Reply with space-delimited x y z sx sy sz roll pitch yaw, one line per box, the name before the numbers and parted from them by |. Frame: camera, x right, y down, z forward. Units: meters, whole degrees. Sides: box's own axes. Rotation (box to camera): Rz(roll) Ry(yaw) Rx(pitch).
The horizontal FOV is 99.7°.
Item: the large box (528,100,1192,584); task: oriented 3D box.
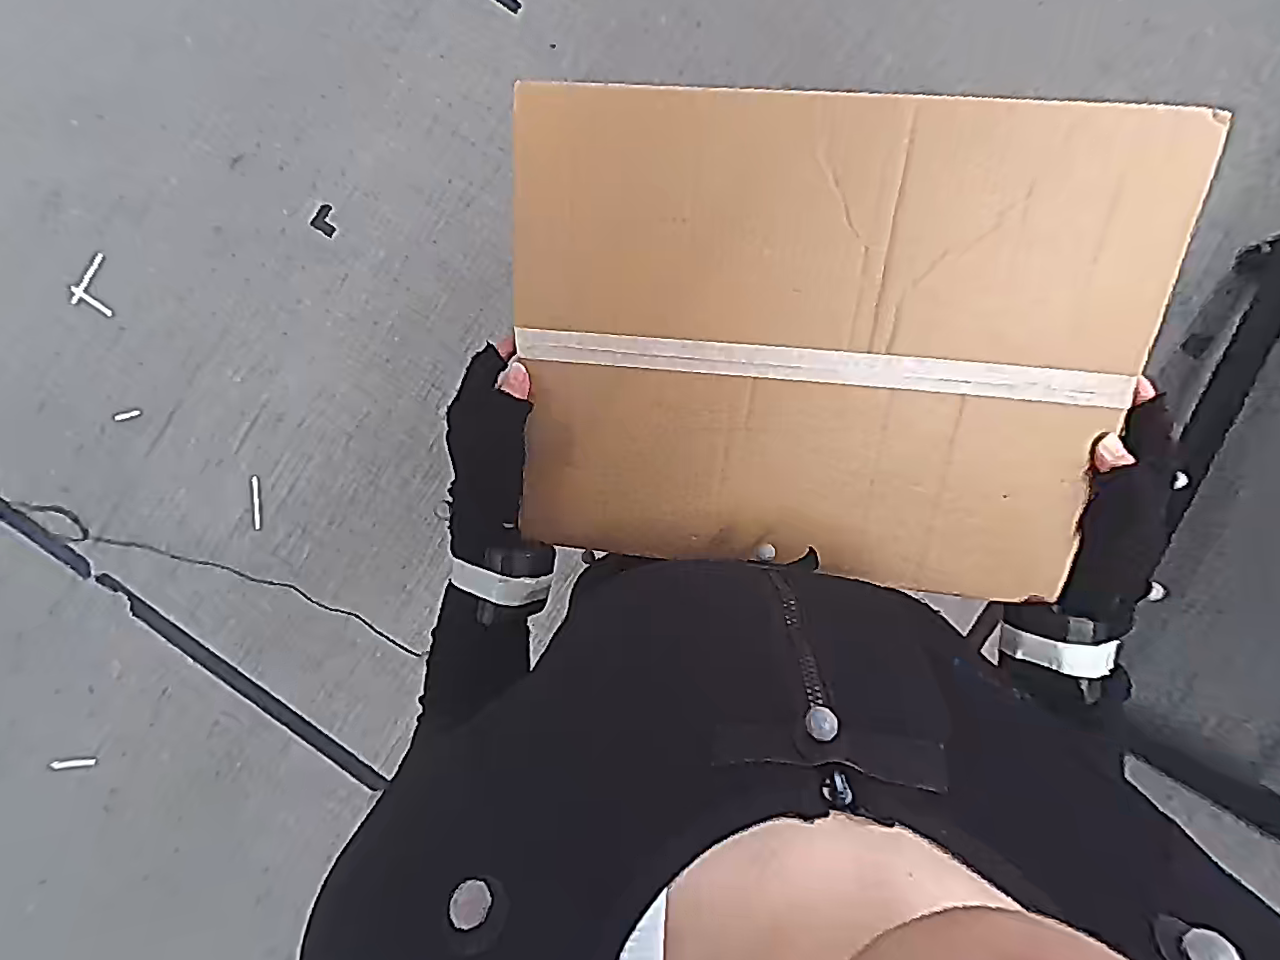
large box | 0.131 -0.129 0.518 0.408 0.320 0.320 6 110 5
